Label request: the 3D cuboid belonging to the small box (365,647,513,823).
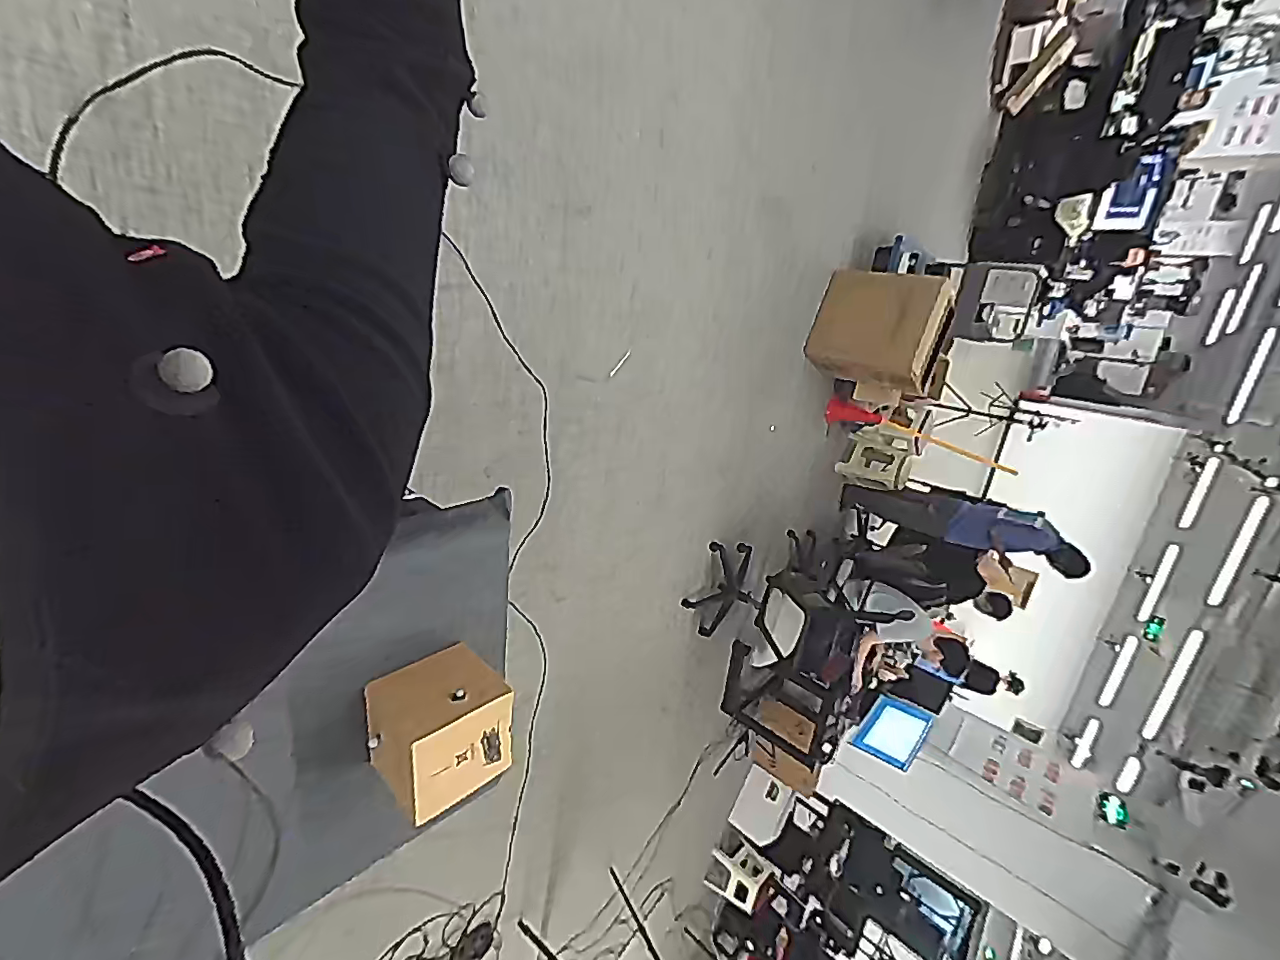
[{"bbox_3d":[-0.336,0.413,0.913,0.179,0.176,0.168,-15,118,-45],"label":"small box"}]
